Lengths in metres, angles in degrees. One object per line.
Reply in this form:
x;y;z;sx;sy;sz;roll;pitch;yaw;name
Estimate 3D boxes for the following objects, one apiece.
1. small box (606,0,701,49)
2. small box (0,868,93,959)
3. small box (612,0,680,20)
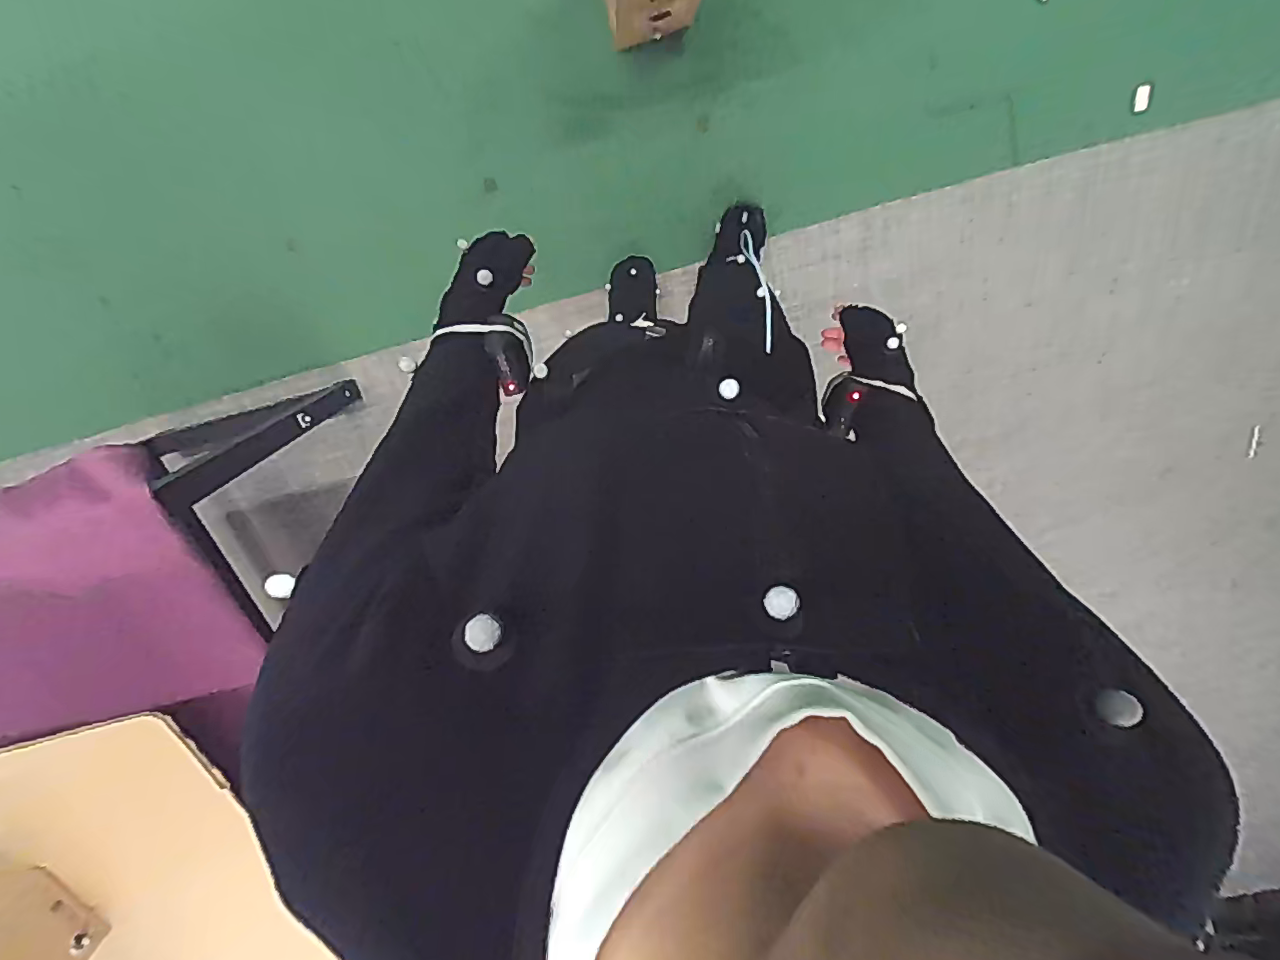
0.011;-0.965;1.019;0.168;0.176;0.179;-15;114;6;small box
-0.925;0.669;0.742;0.179;0.176;0.168;-11;114;7;small box
0.013;-0.898;0.871;0.168;0.176;0.179;-17;114;6;small box
